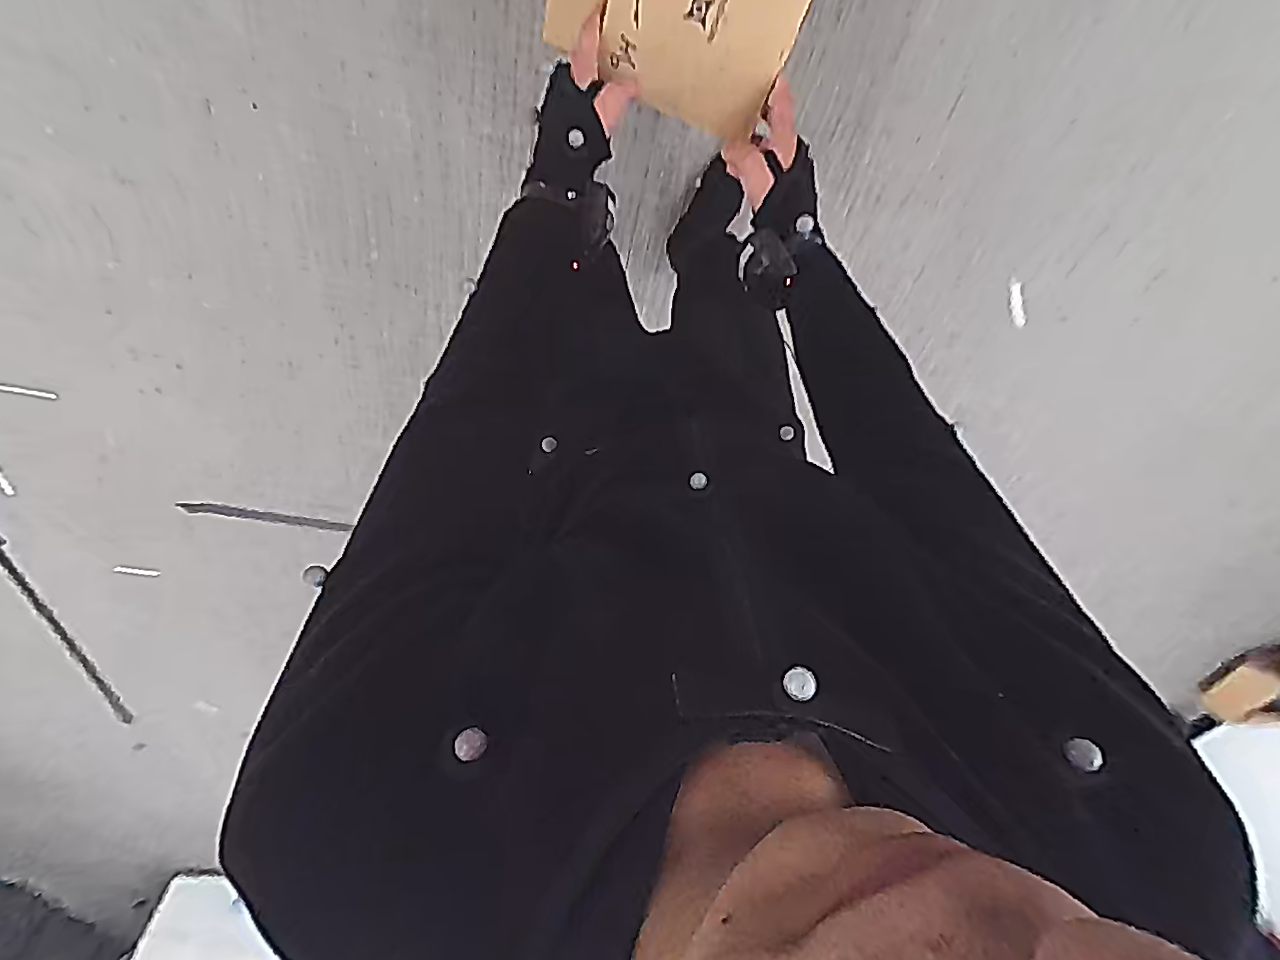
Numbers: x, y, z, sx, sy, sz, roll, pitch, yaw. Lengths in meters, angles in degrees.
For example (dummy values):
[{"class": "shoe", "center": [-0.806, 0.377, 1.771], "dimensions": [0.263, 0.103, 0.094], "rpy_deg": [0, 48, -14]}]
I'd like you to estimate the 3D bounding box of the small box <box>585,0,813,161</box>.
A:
[{"class": "small box", "center": [0.049, -0.471, 0.562], "dimensions": [0.179, 0.176, 0.168], "rpy_deg": [12, 131, -18]}]
